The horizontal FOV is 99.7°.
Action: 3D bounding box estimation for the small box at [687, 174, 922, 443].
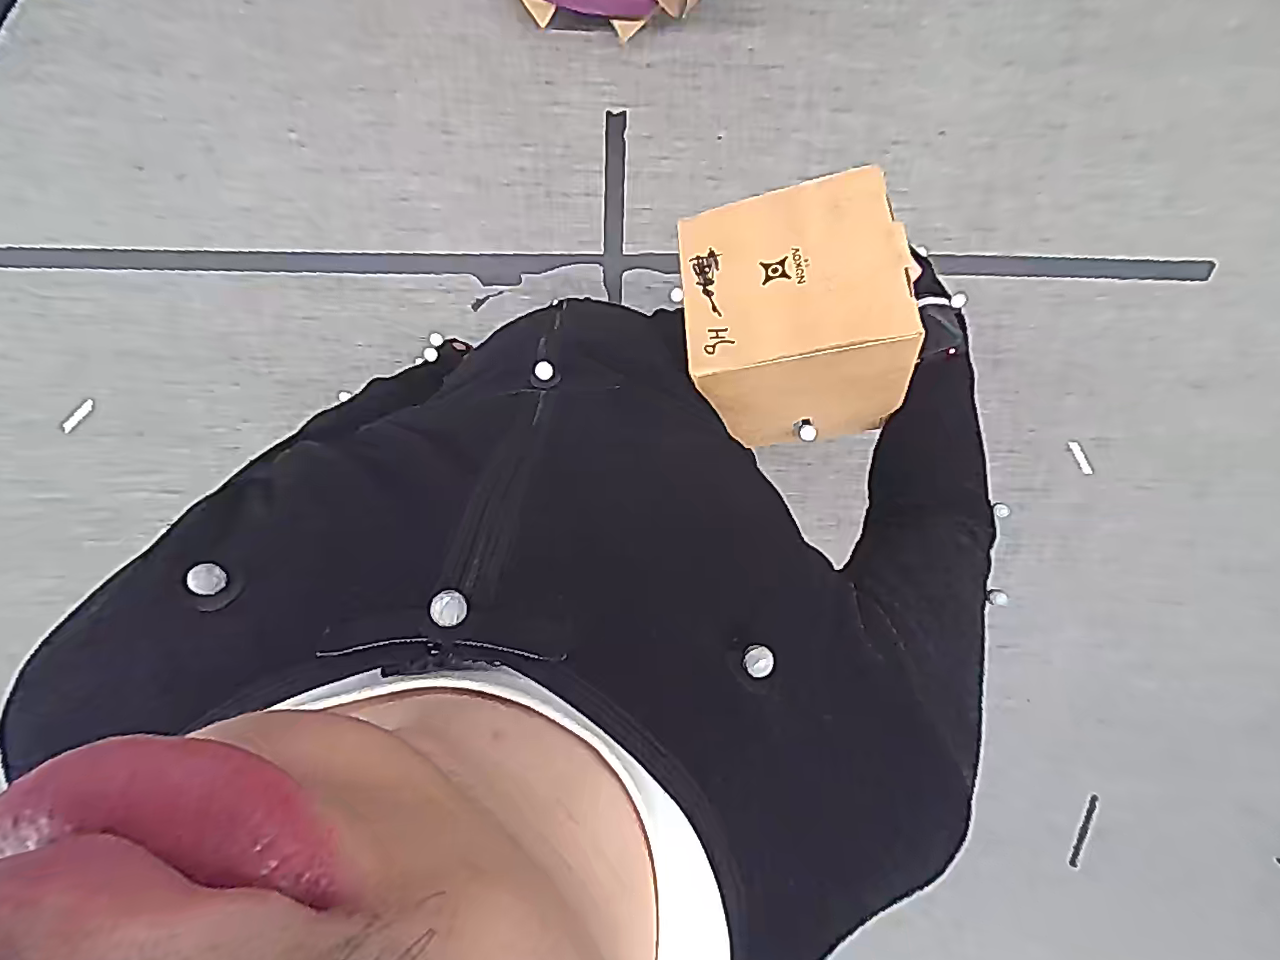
[{"bbox_3d":[0.151,-0.149,0.527,0.179,0.176,0.168,-8,69,16],"label":"small box"}]
